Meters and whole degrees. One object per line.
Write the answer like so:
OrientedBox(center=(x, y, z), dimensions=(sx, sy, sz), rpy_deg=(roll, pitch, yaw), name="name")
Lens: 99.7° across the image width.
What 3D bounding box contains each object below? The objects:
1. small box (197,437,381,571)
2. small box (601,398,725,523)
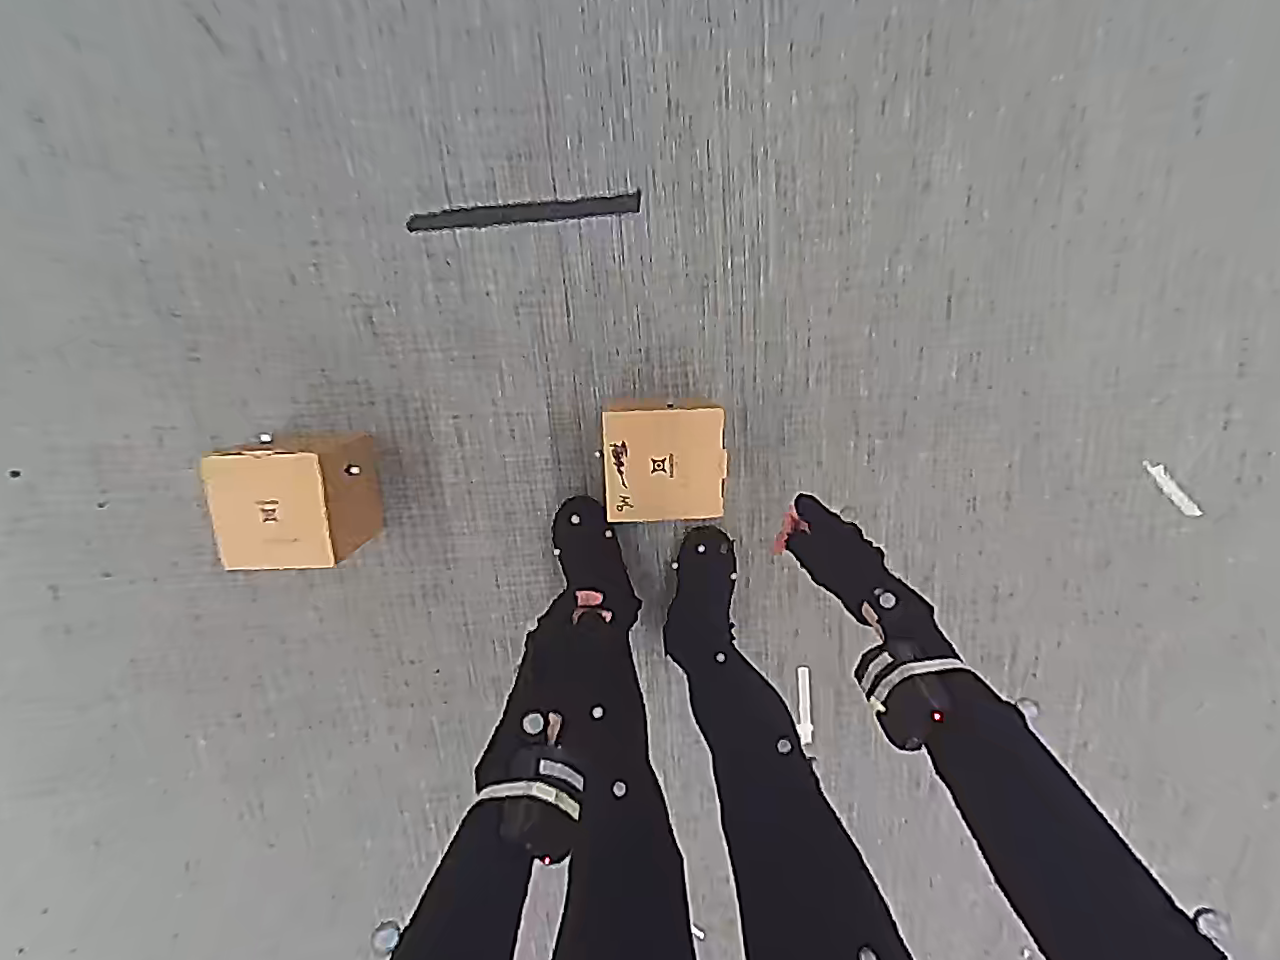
OrientedBox(center=(-0.531, 0.028, 0.845), dimensions=(0.168, 0.176, 0.179), rpy_deg=(-2, 105, -1), name="small box")
OrientedBox(center=(0.029, -0.038, 0.853), dimensions=(0.179, 0.176, 0.168), rpy_deg=(-2, 104, -3), name="small box")
